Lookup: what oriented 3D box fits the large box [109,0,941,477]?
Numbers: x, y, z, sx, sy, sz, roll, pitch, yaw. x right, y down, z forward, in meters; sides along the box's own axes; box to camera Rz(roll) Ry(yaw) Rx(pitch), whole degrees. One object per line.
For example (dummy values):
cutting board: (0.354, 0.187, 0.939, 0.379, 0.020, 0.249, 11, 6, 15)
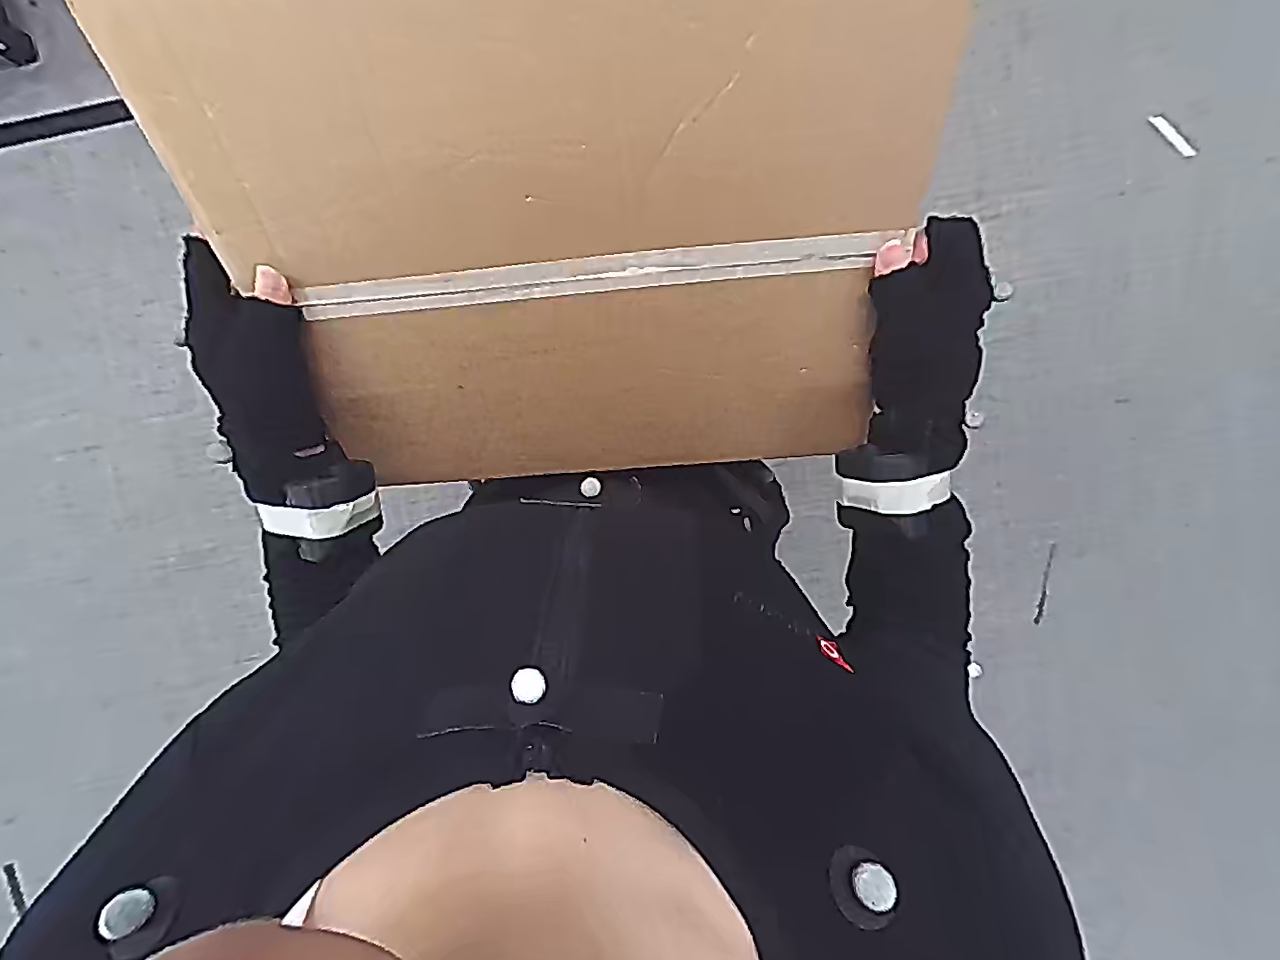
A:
large box: (-0.045, -0.230, 0.451, 0.408, 0.320, 0.320, -4, 133, 3)
